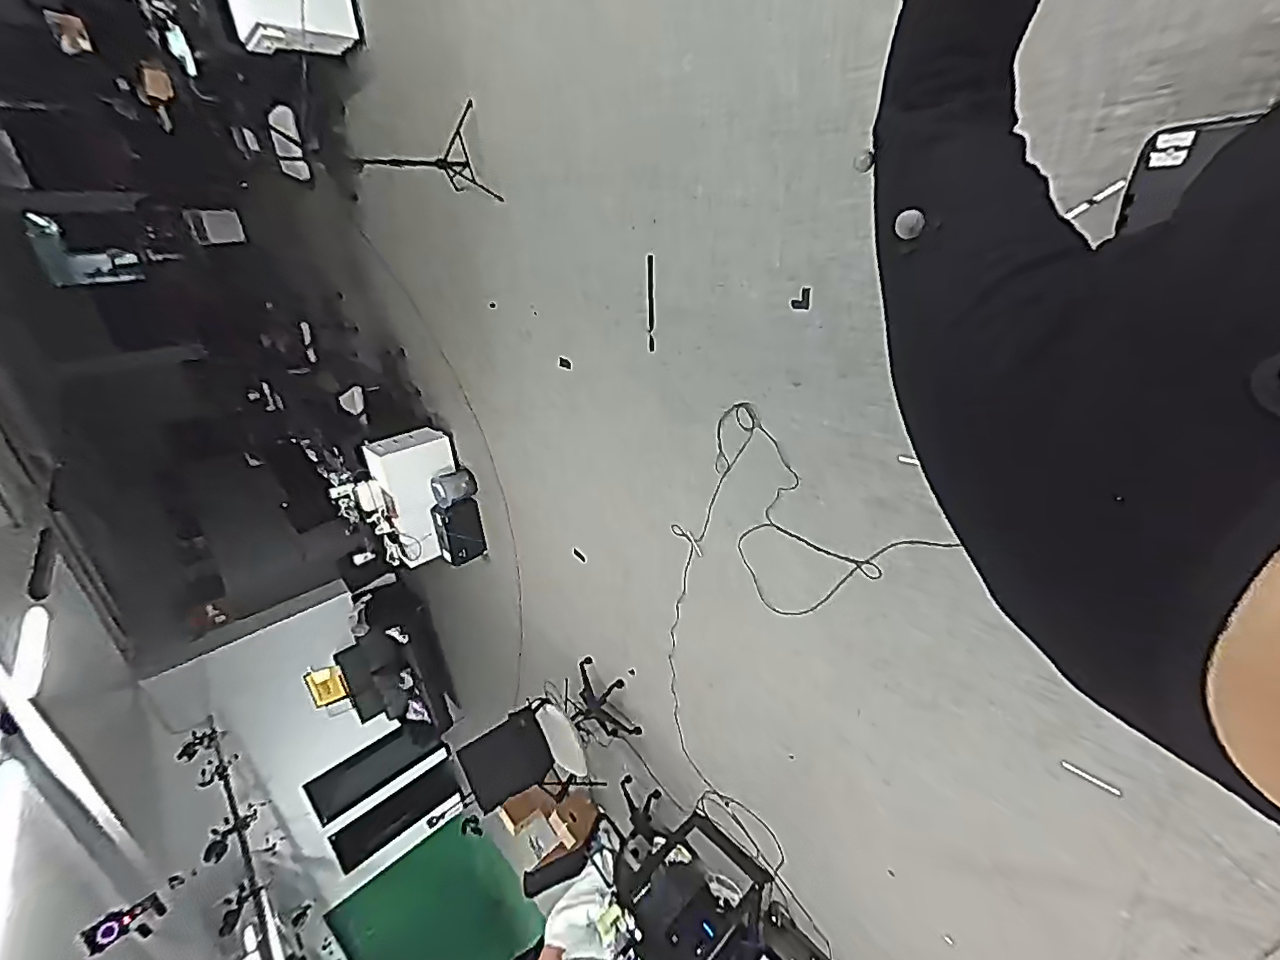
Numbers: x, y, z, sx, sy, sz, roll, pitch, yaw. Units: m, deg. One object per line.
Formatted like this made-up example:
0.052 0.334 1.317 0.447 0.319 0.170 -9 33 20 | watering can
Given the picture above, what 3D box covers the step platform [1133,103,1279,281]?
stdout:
1.258 -0.478 0.868 0.684 0.204 0.286 19 124 43 | step platform
